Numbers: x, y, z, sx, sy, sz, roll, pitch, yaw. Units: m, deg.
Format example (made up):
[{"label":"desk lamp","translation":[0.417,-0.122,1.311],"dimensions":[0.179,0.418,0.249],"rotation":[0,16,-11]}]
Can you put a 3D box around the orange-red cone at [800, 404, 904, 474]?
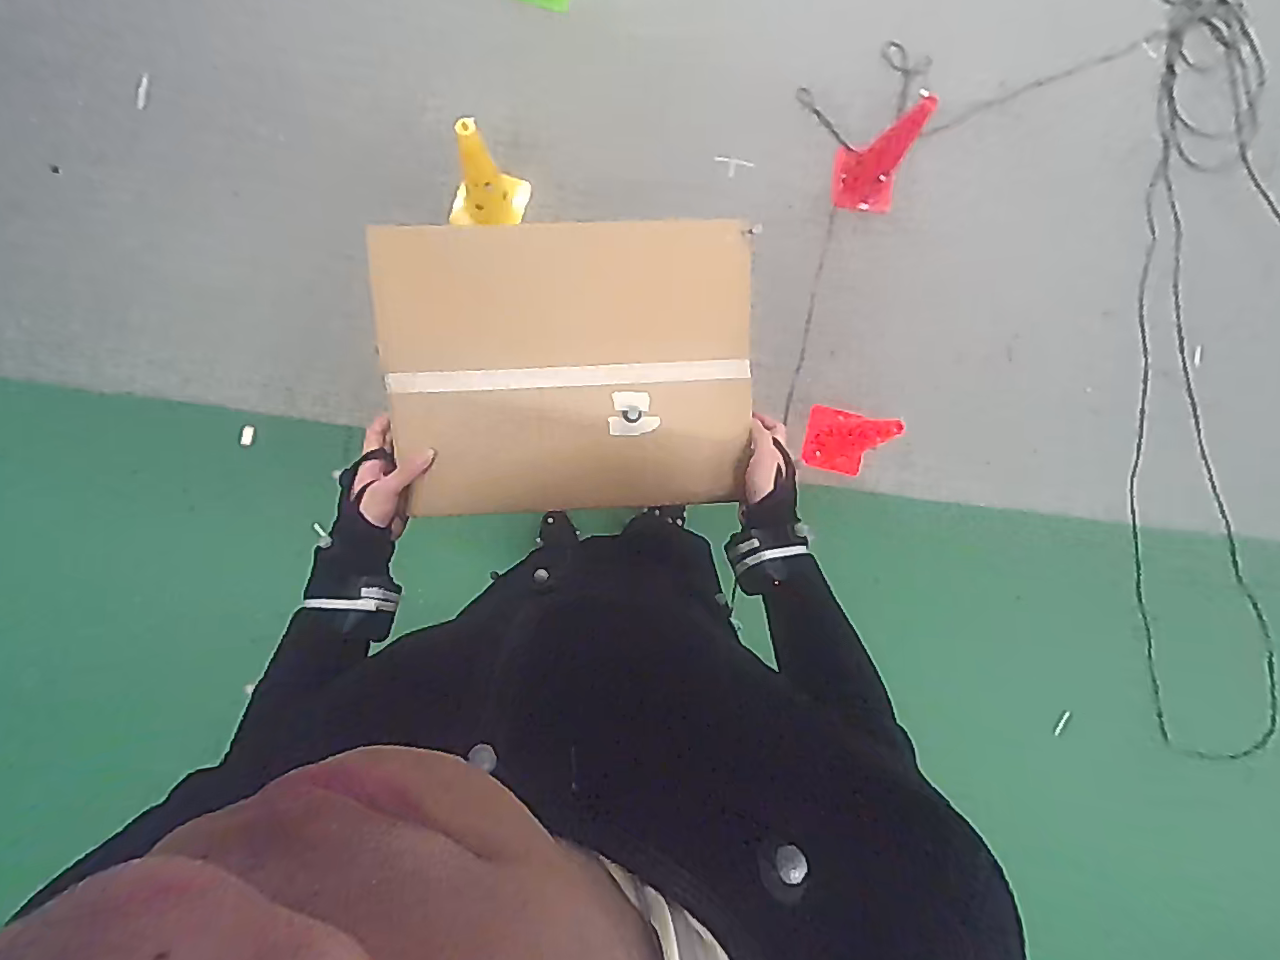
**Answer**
[{"label":"orange-red cone","translation":[0.643,-0.133,1.563],"dimensions":[0.199,0.360,0.198],"rotation":[14,88,-7]}]

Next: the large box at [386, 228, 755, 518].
[{"label":"large box","translation":[-0.079,-0.146,0.757],"dimensions":[0.408,0.320,0.320],"rotation":[-3,103,-4]}]

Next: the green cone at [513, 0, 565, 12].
[{"label":"green cone","translation":[-0.304,-1.571,1.507],"dimensions":[0.200,0.368,0.202],"rotation":[13,88,-5]}]
